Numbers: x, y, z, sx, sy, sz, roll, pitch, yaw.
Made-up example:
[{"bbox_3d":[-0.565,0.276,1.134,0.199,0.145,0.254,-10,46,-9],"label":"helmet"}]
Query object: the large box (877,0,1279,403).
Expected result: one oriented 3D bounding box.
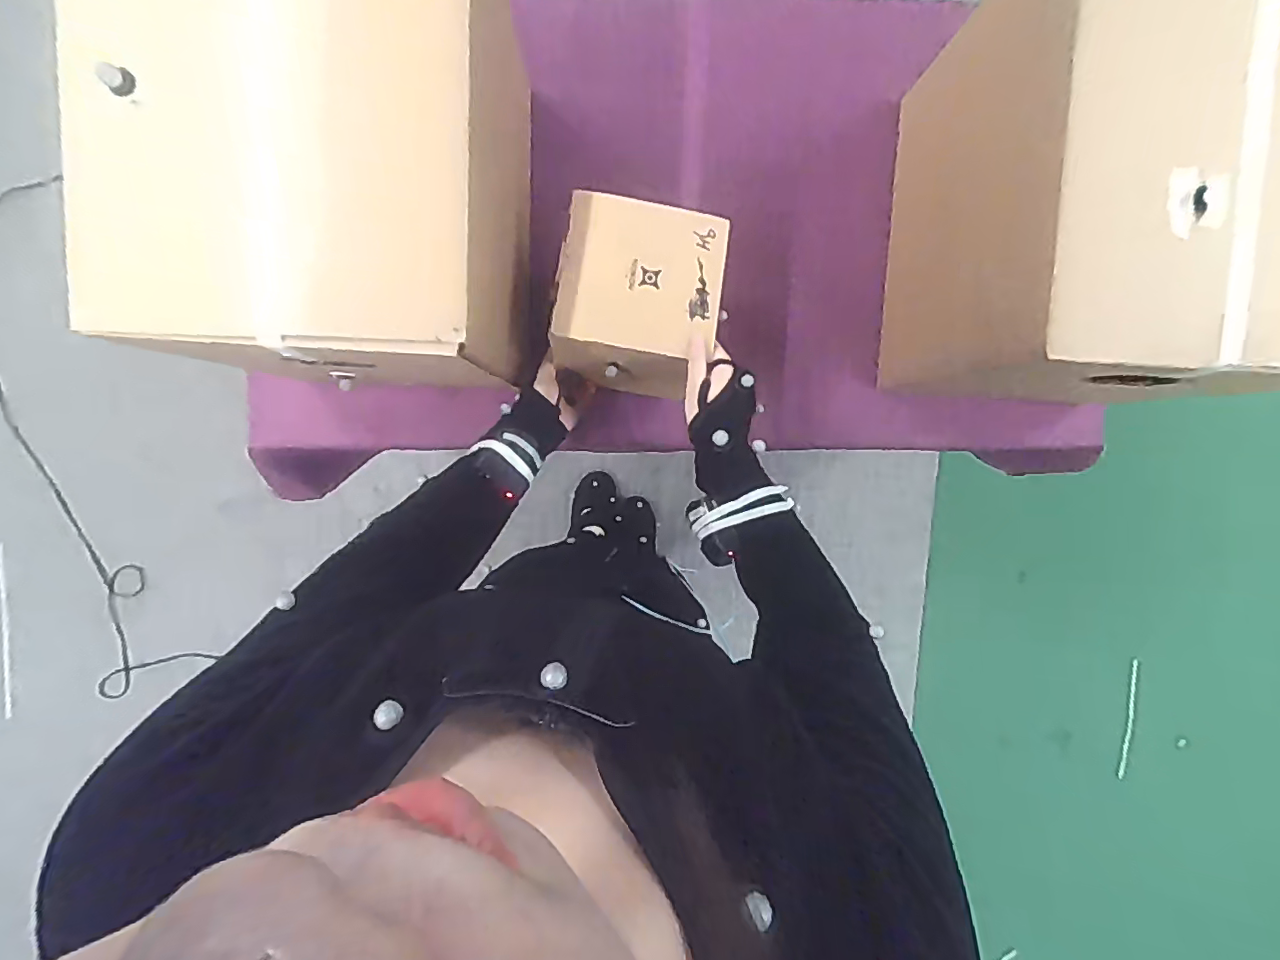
[{"bbox_3d":[0.507,-0.306,0.625,0.320,0.320,0.408,3,95,-3],"label":"large box"}]
